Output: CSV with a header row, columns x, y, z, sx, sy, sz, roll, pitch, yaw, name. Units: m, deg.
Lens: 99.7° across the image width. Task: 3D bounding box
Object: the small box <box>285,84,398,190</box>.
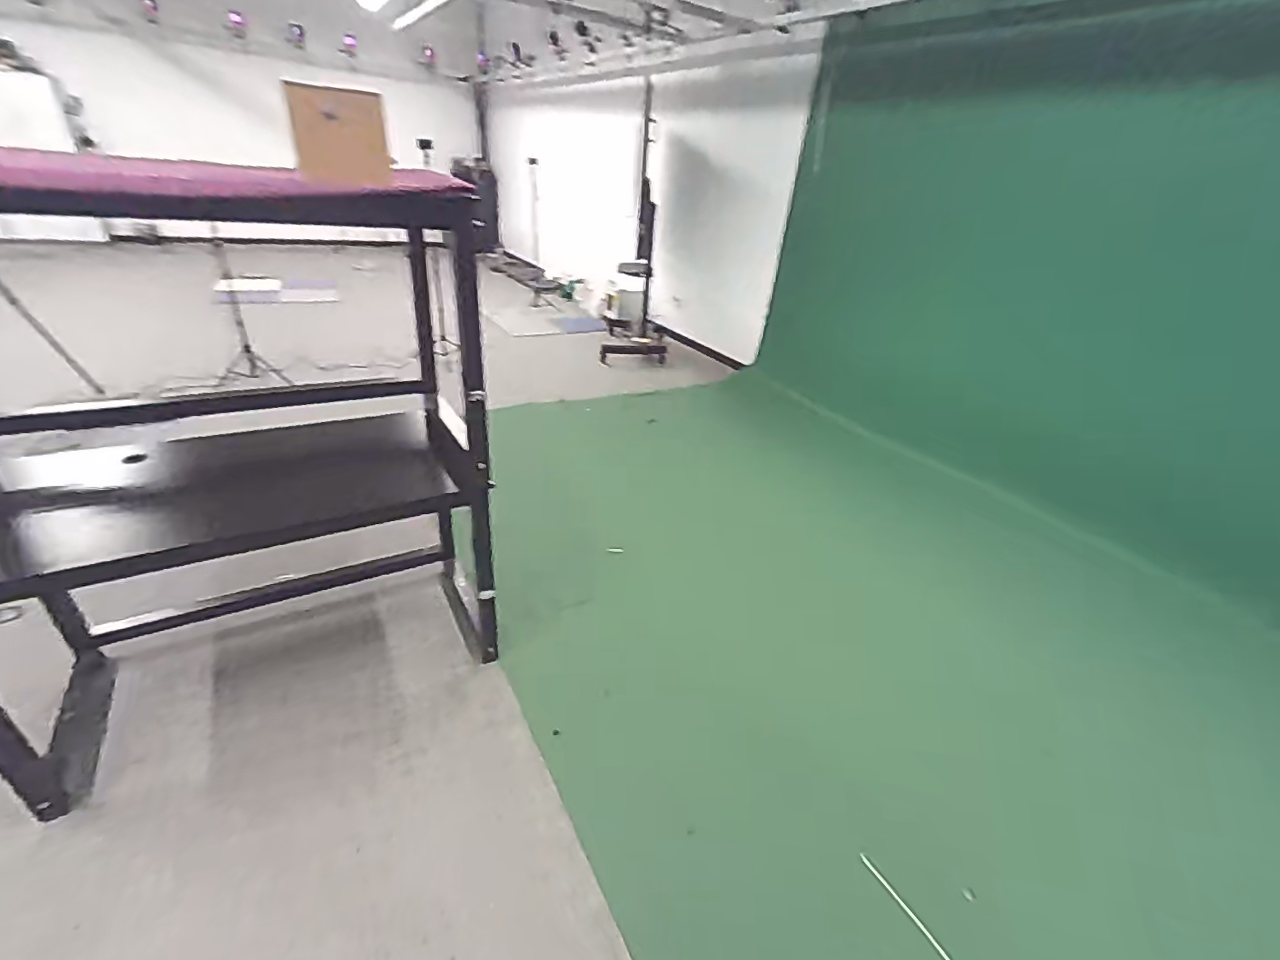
x,y,z,sx,sy,sz,roll,pitch,yaw,name
-0.620,-0.711,1.138,0.179,0.176,0.168,-9,31,-24,small box
